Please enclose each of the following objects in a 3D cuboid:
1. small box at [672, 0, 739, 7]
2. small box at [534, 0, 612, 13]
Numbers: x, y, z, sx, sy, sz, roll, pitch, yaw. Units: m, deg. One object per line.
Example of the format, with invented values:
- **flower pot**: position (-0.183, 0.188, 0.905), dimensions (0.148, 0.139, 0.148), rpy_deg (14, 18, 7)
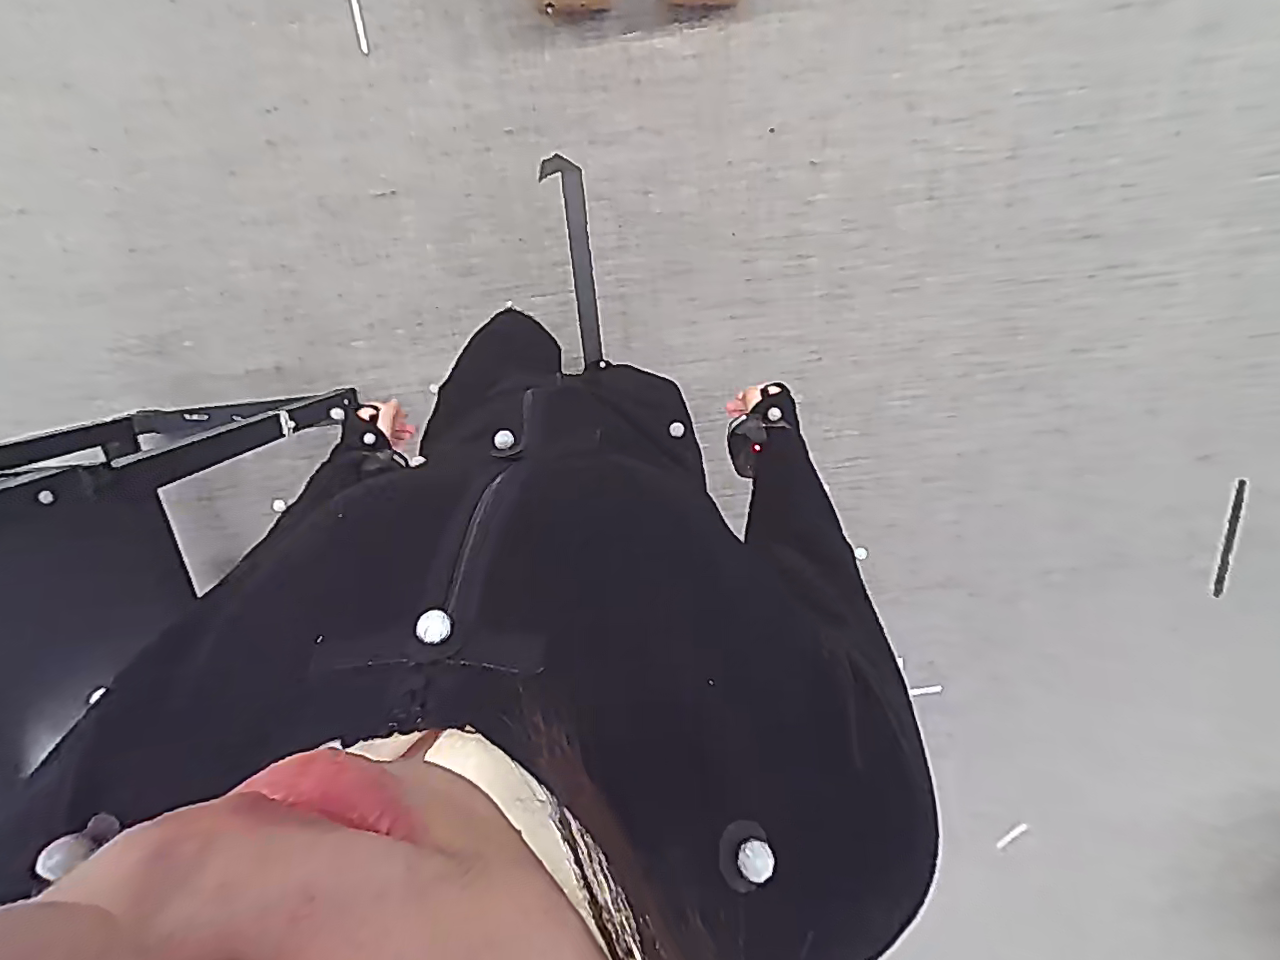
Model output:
- **small box**: position (0.137, -1.085, 1.075), dimensions (0.168, 0.176, 0.179), rpy_deg (-2, 107, -3)
- **small box**: position (-0.144, -1.064, 1.068), dimensions (0.168, 0.176, 0.179), rpy_deg (-5, 107, -1)
